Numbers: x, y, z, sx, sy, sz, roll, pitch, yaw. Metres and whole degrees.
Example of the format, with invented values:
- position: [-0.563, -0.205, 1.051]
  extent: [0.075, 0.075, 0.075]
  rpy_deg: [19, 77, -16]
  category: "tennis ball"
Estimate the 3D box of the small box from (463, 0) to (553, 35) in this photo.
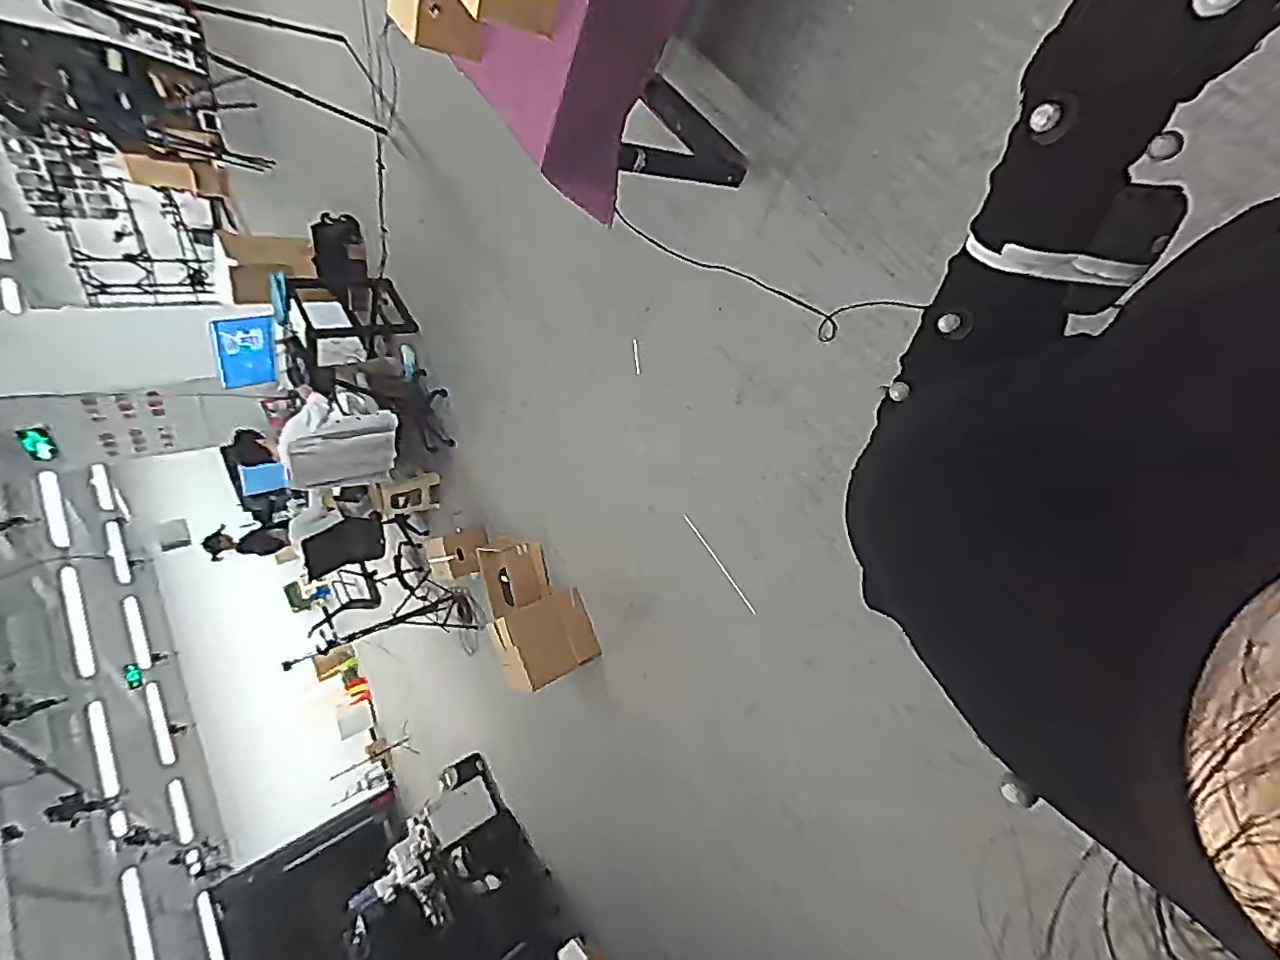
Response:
- position: [-0.263, -1.027, 1.059]
  extent: [0.168, 0.176, 0.179]
  rpy_deg: [57, 138, 18]
  category: "small box"
